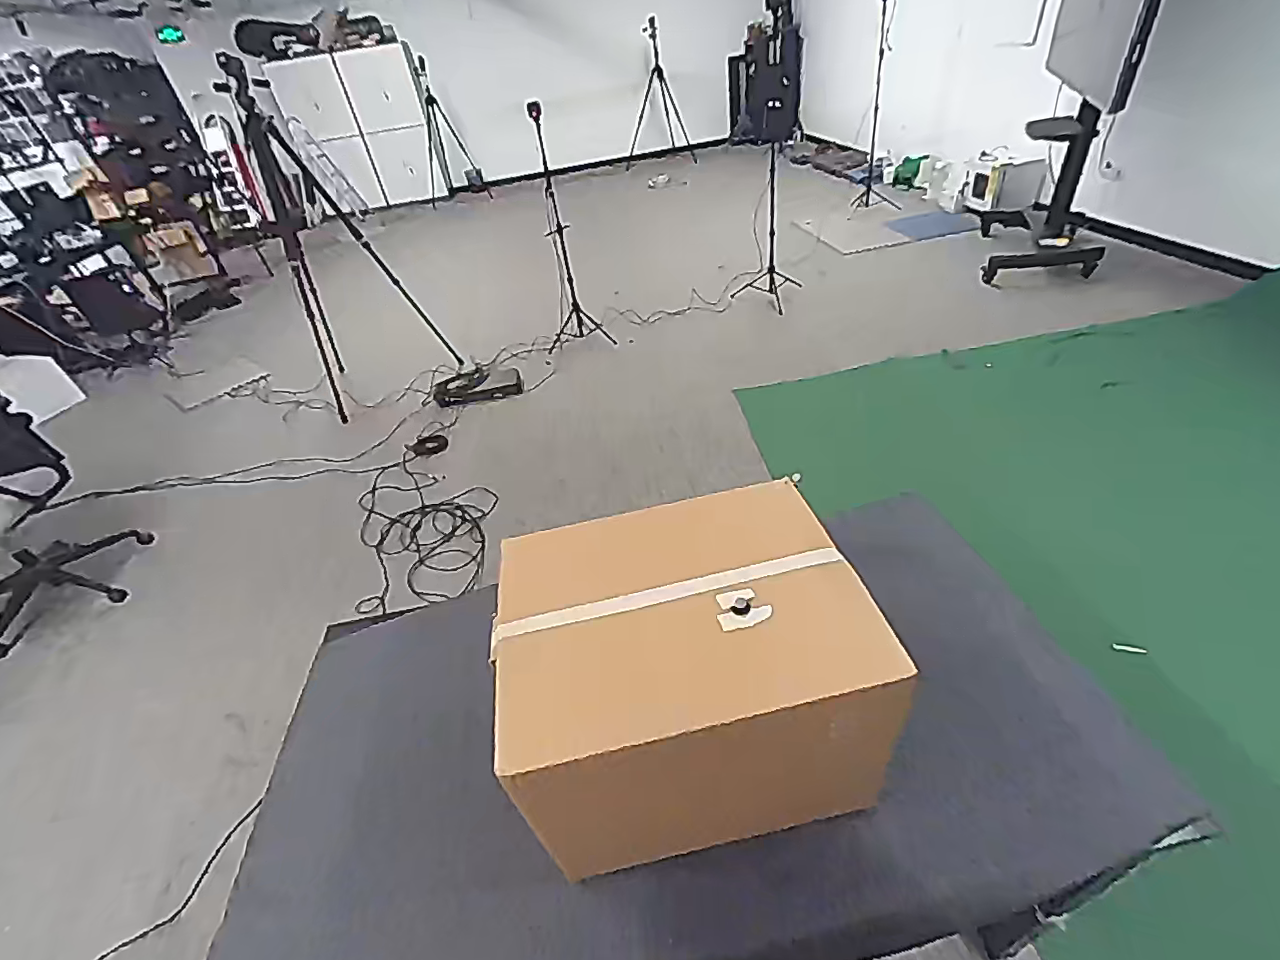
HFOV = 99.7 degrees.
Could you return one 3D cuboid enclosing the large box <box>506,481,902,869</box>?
[{"bbox_3d":[0.058,0.249,0.724,0.408,0.320,0.320,-12,40,-4],"label":"large box"}]
